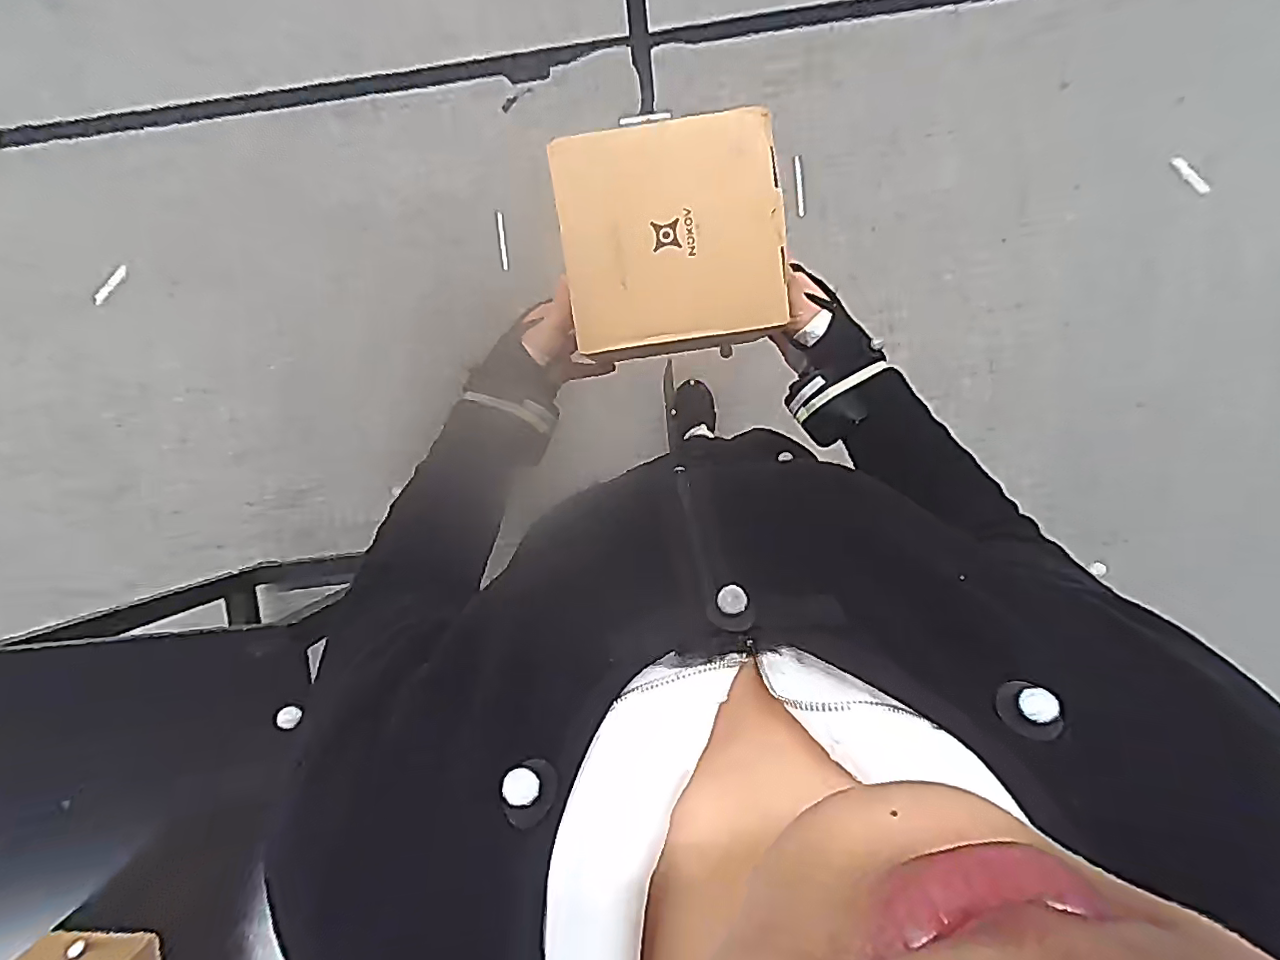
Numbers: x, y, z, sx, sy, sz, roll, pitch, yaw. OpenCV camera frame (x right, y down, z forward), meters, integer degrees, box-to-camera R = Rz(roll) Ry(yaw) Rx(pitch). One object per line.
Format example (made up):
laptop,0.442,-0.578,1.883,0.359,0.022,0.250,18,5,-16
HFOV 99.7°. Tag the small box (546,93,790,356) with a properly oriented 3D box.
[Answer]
small box,0.026,-0.214,0.502,0.179,0.176,0.168,-9,98,4
